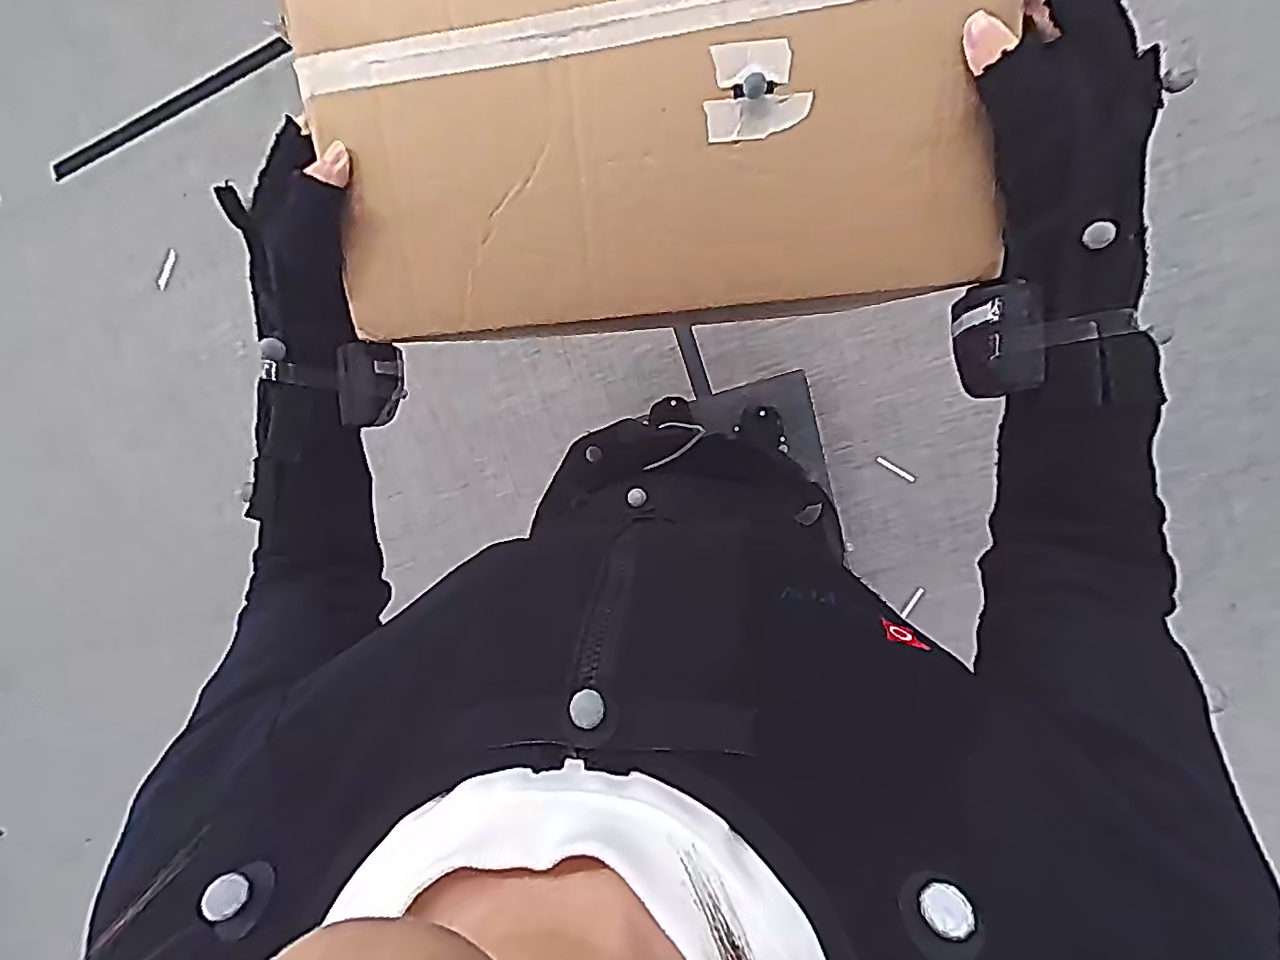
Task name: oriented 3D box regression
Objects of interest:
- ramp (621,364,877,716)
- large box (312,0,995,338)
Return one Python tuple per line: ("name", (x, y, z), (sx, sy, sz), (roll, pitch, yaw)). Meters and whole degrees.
("ramp", (0.332, 0.222, 1.521), (0.509, 0.206, 0.991), (-17, 96, 9))
("large box", (0.012, -0.301, 0.461), (0.408, 0.320, 0.320), (-4, 105, 7))
